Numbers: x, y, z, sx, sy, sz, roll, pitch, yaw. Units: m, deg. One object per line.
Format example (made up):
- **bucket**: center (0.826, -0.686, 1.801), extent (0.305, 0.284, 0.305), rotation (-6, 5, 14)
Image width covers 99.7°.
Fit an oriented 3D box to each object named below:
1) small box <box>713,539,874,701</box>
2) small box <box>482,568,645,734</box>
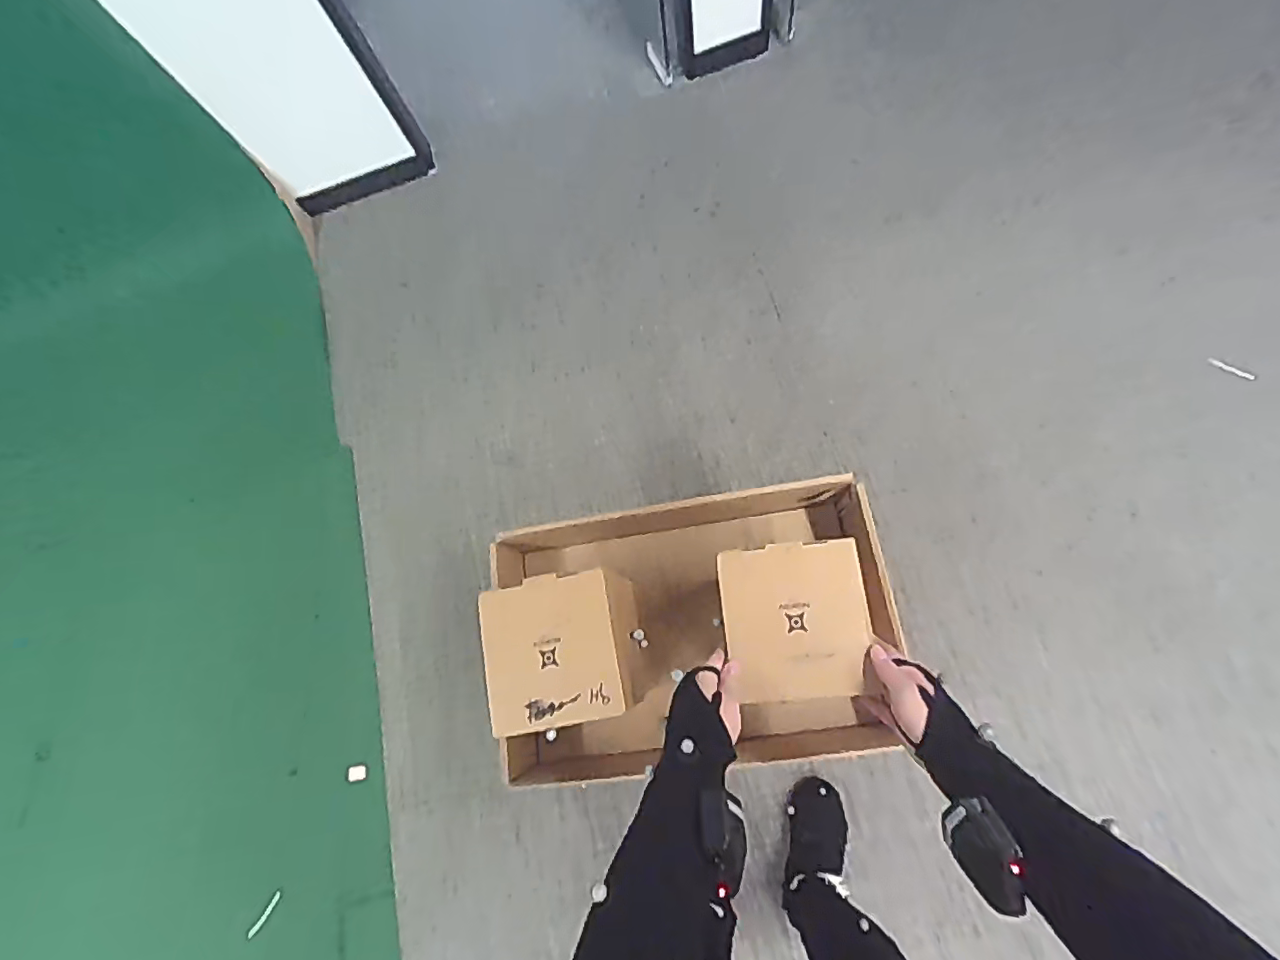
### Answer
- **small box**: center (0.187, 0.182, 0.706), extent (0.168, 0.176, 0.179), rotation (-7, 75, 9)
- **small box**: center (-0.098, 0.231, 0.744), extent (0.168, 0.176, 0.179), rotation (-14, 73, 8)
